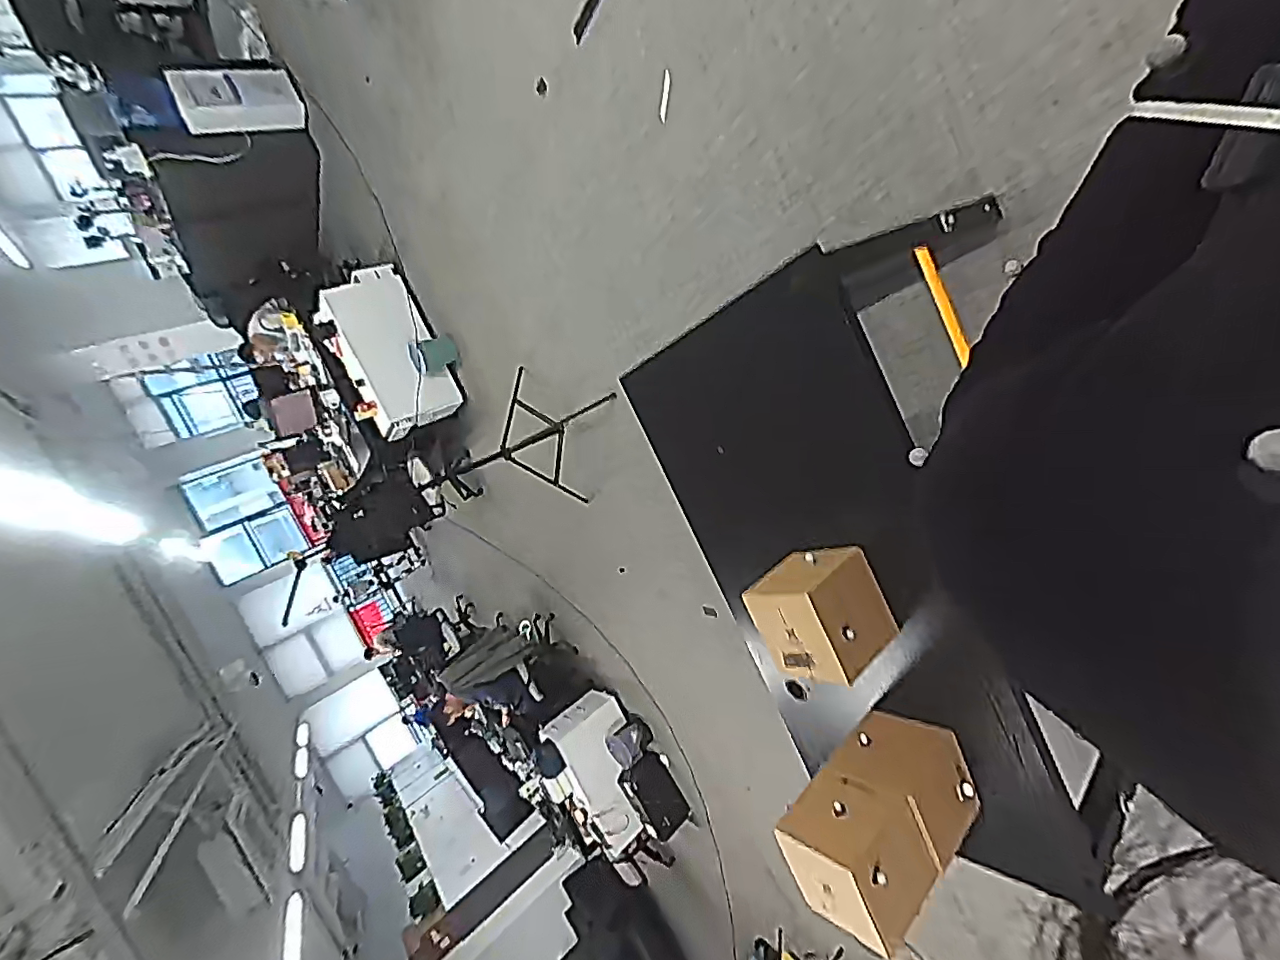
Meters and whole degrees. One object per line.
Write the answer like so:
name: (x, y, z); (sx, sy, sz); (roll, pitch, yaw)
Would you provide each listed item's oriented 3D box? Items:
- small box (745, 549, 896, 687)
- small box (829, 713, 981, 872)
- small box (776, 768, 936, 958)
small box: (0.334, 0.246, 0.996); (0.168, 0.176, 0.179); (-20, 97, 58)
small box: (0.499, 0.570, 1.019); (0.179, 0.176, 0.168); (-13, 104, 56)
small box: (0.376, 0.644, 0.938); (0.168, 0.176, 0.179); (-12, 105, 58)
